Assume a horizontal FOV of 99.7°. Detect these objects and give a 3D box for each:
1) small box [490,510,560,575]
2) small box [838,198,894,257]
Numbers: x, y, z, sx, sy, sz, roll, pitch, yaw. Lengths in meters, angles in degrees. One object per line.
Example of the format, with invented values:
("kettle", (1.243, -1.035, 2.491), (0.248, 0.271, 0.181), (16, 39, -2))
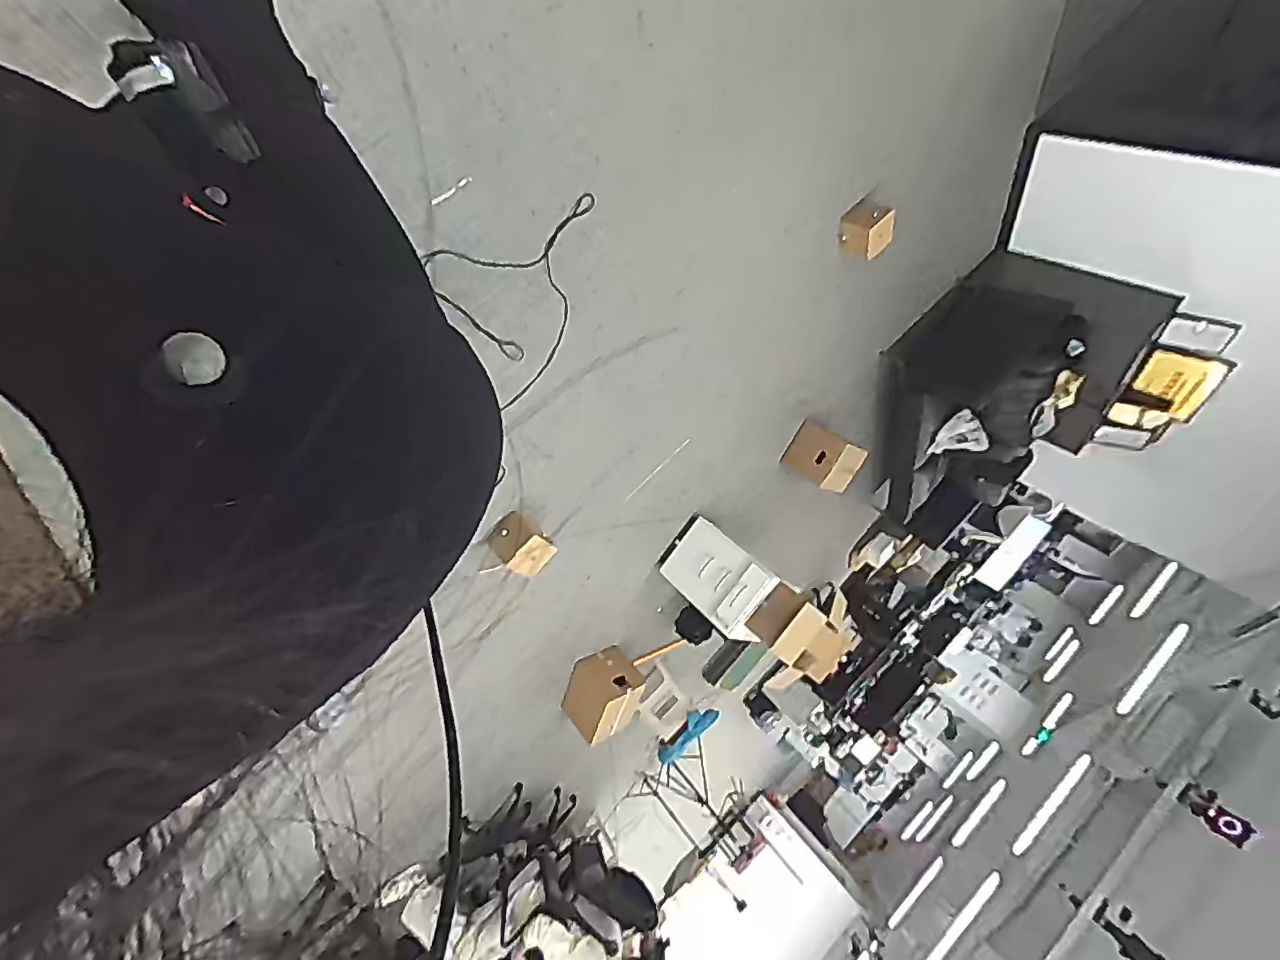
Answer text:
("small box", (-0.460, 0.245, 2.153), (0.168, 0.176, 0.179), (-48, 145, -3))
("small box", (1.049, -1.182, 2.517), (0.179, 0.176, 0.168), (-42, 144, -9))
